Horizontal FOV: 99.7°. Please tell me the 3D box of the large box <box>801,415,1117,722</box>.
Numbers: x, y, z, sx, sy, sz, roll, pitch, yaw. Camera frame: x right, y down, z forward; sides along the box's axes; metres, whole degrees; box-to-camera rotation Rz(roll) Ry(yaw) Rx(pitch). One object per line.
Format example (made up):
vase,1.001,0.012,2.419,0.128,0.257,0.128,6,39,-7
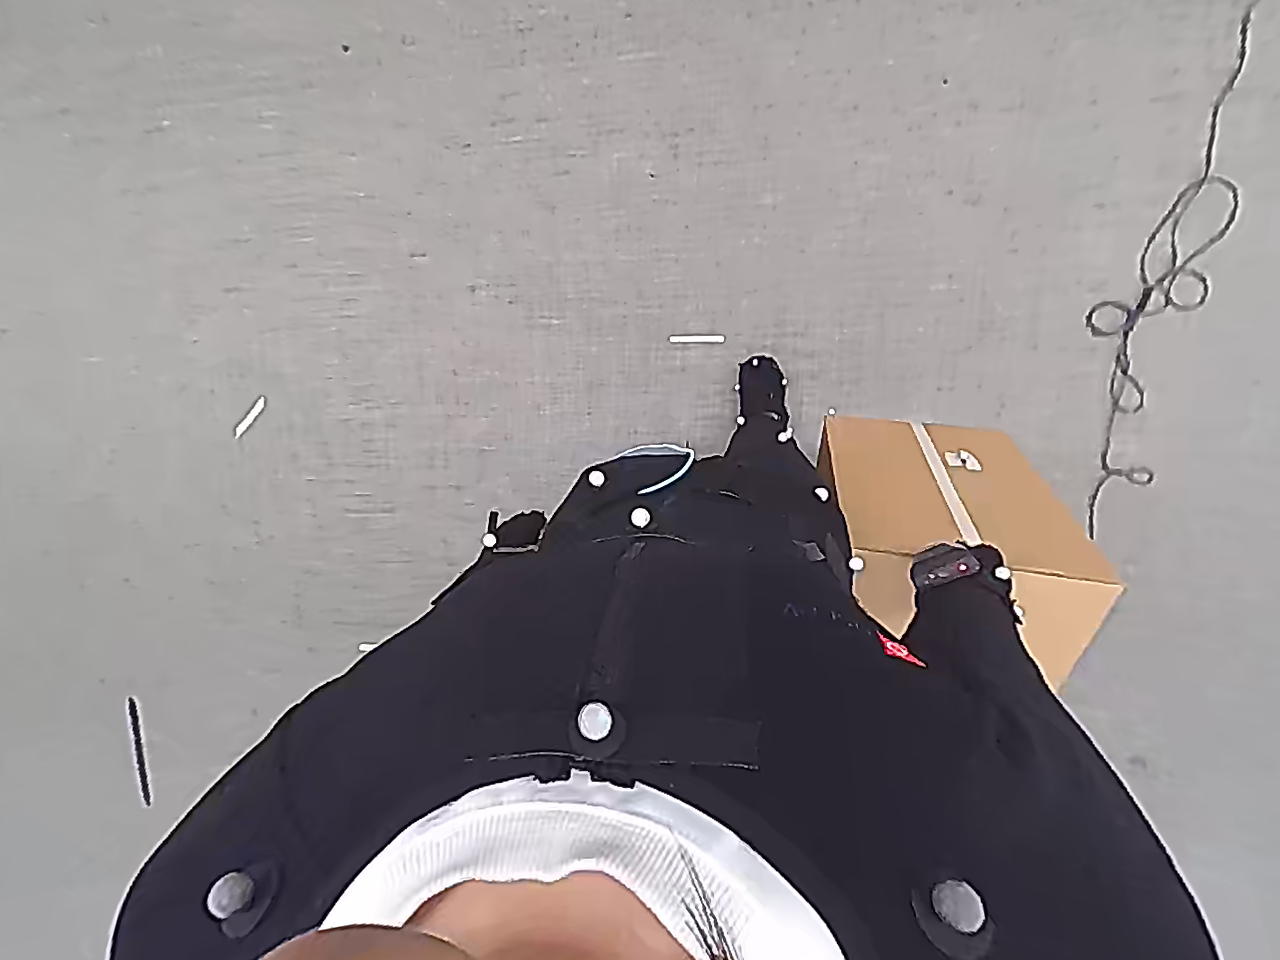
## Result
large box,0.459,0.121,0.907,0.320,0.408,0.320,7,122,9
